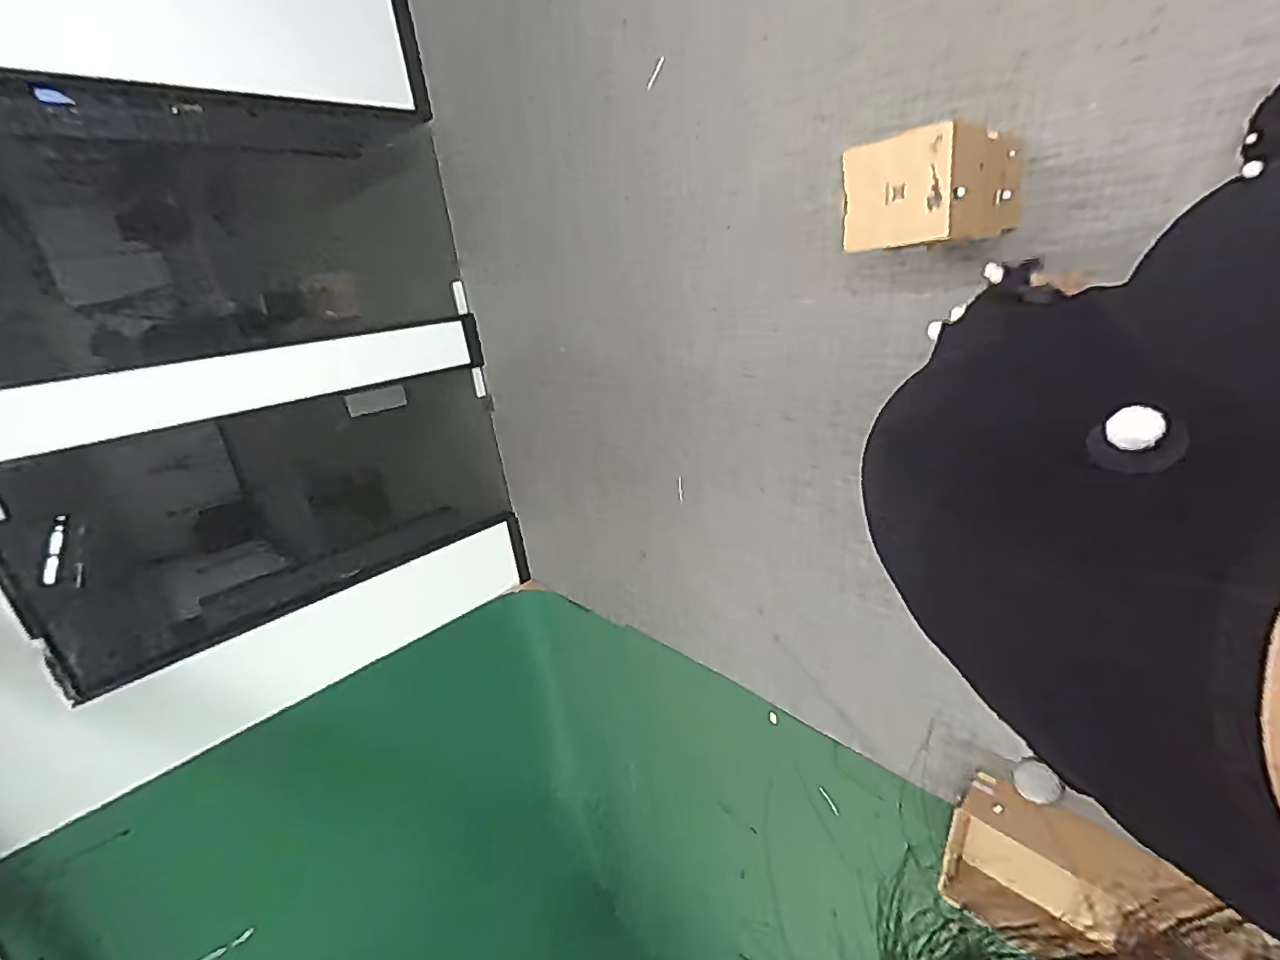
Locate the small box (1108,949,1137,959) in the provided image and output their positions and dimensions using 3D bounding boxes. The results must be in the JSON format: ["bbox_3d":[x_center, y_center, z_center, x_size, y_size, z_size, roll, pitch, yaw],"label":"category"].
[{"bbox_3d":[1.149,1.238,1.226,0.168,0.176,0.179,17,121,44],"label":"small box"}]

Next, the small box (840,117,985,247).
[{"bbox_3d":[0.471,-0.507,0.944,0.179,0.176,0.168,13,119,45],"label":"small box"}]

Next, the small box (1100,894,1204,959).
[{"bbox_3d":[1.262,1.196,1.337,0.168,0.176,0.179,14,118,44],"label":"small box"}]

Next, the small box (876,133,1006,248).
[{"bbox_3d":[0.583,-0.554,1.054,0.179,0.176,0.168,12,118,43],"label":"small box"}]
